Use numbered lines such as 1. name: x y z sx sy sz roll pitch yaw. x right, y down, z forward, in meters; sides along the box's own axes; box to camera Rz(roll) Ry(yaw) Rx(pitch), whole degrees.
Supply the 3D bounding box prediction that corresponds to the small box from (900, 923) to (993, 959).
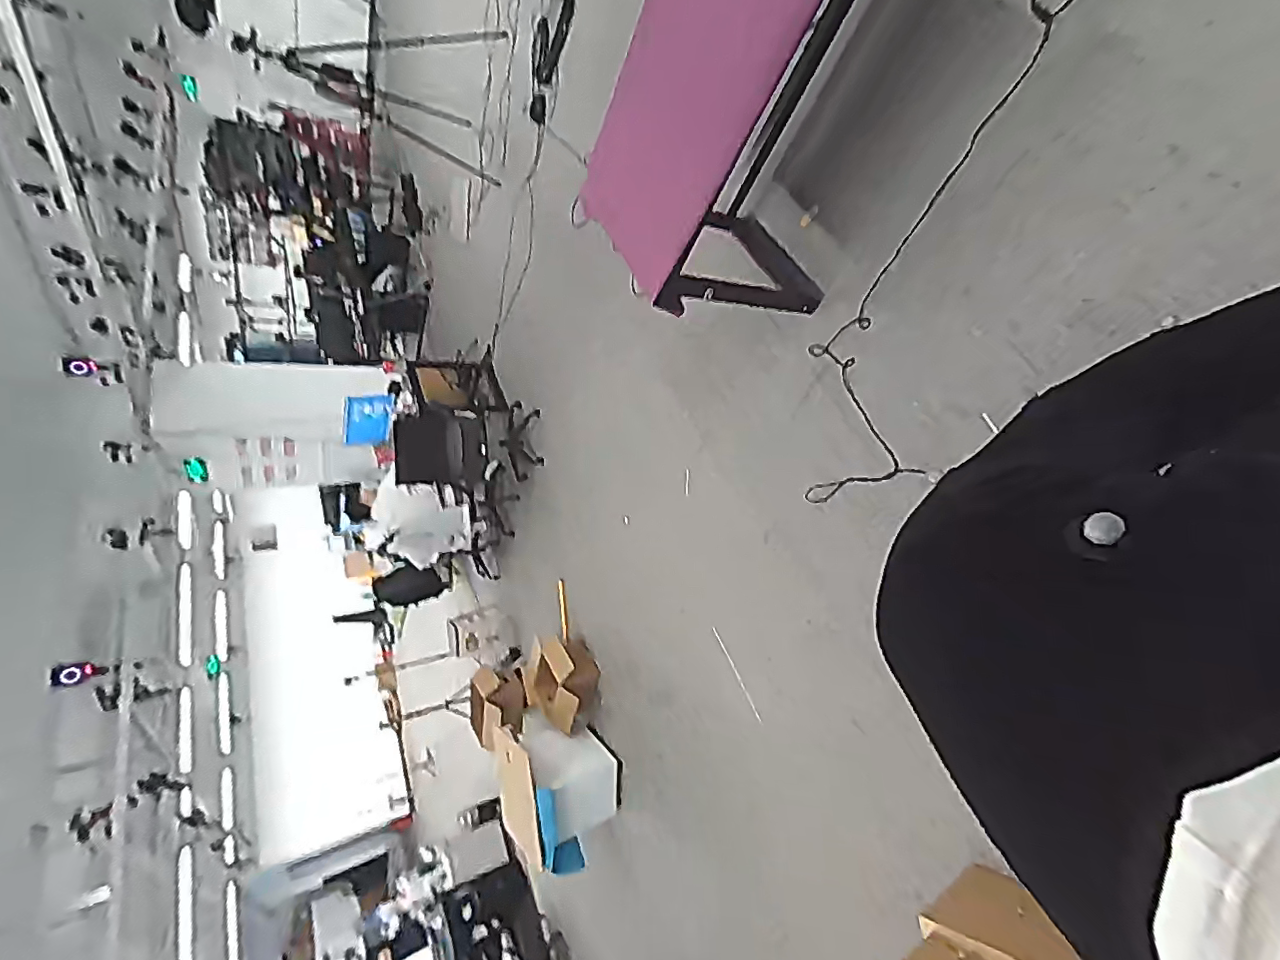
1. small box: 0.788 1.287 1.363 0.168 0.176 0.179 -11 84 55
